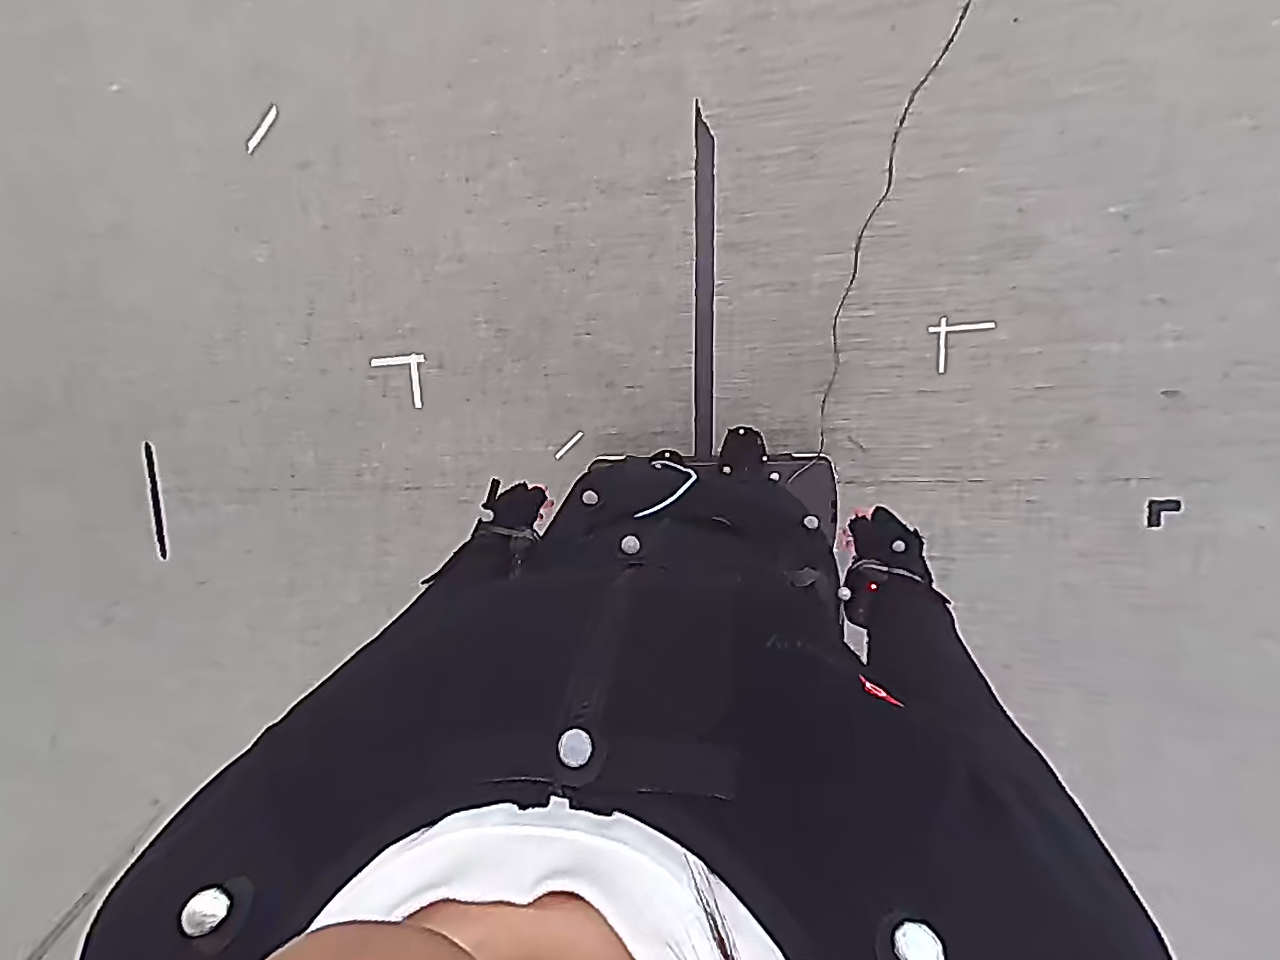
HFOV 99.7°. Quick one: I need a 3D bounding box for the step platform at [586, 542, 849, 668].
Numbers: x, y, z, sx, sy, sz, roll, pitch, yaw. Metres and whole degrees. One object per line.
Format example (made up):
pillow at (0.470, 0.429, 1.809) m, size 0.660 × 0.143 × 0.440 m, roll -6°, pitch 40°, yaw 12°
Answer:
step platform at (0.198, 0.328, 1.452) m, size 0.684 × 0.204 × 0.286 m, roll -1°, pitch 96°, yaw 11°
